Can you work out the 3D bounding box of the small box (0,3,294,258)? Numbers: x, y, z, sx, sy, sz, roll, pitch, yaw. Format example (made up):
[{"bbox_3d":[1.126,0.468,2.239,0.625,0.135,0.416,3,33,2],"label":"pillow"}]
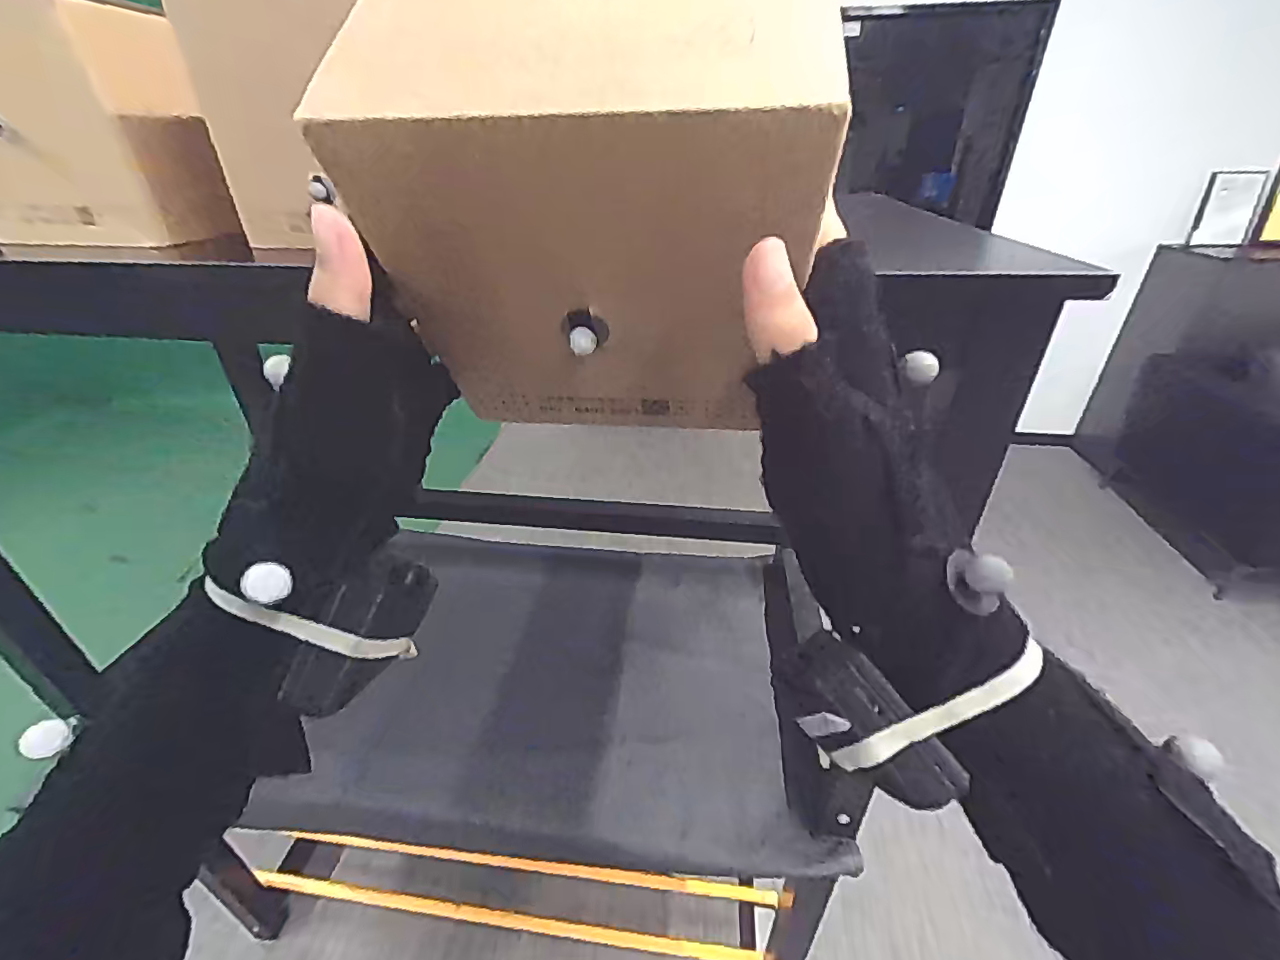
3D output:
[{"bbox_3d":[-0.465,-0.305,0.497,0.168,0.176,0.179,4,31,8],"label":"small box"}]

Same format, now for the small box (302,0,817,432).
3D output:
[{"bbox_3d":[-0.014,-0.138,0.270,0.168,0.176,0.179,3,63,6],"label":"small box"}]
